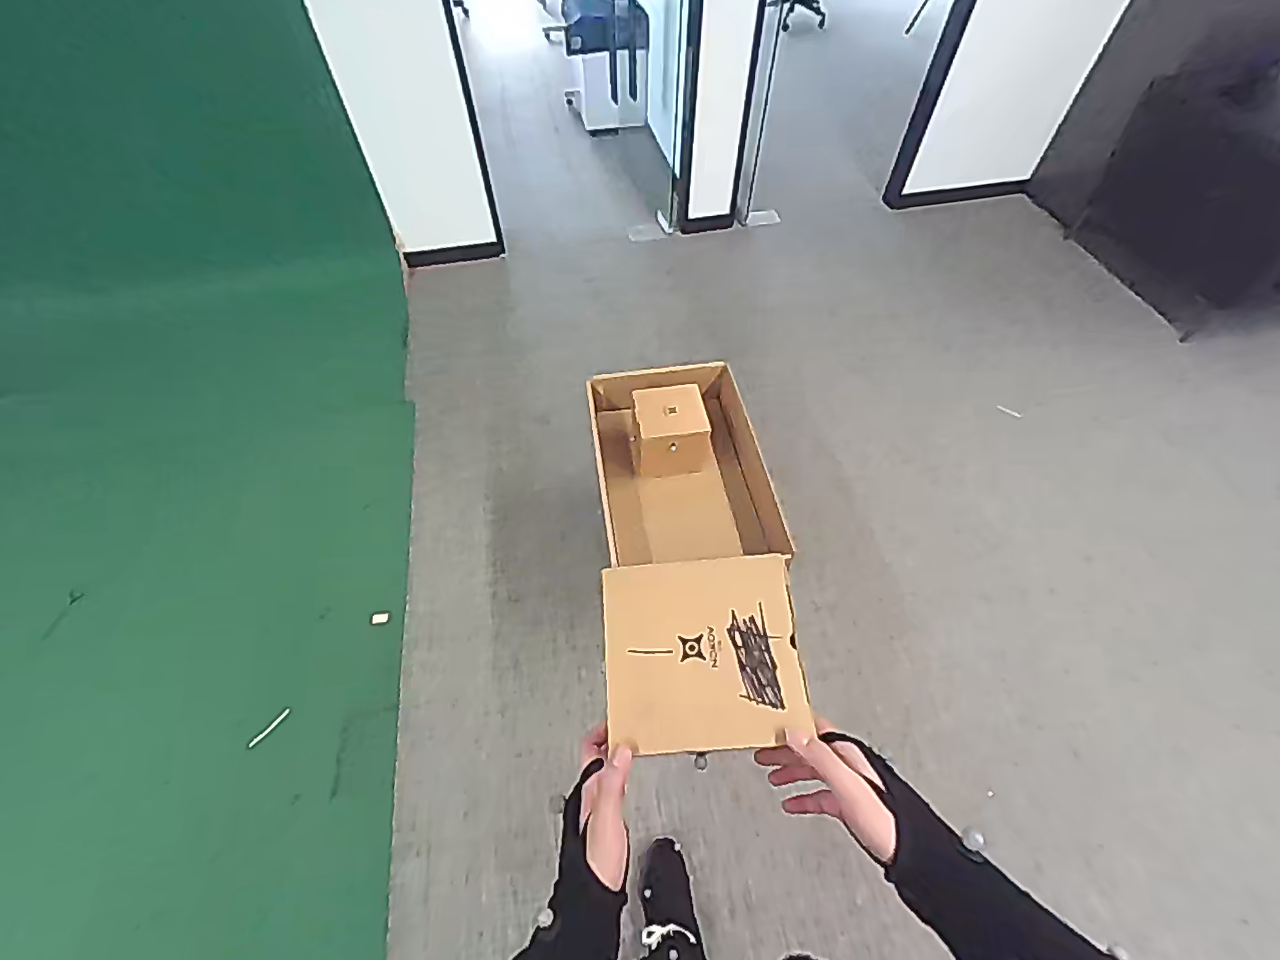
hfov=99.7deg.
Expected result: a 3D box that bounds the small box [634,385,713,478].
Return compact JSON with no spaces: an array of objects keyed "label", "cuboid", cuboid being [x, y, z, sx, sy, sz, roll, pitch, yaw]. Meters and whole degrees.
[{"label":"small box","cuboid":[0.080,-0.124,1.413,0.179,0.176,0.168,-8,55,-5]}]

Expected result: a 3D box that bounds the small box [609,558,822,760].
[{"label":"small box","cuboid":[0.064,0.186,0.550,0.179,0.176,0.168,-5,64,2]}]
